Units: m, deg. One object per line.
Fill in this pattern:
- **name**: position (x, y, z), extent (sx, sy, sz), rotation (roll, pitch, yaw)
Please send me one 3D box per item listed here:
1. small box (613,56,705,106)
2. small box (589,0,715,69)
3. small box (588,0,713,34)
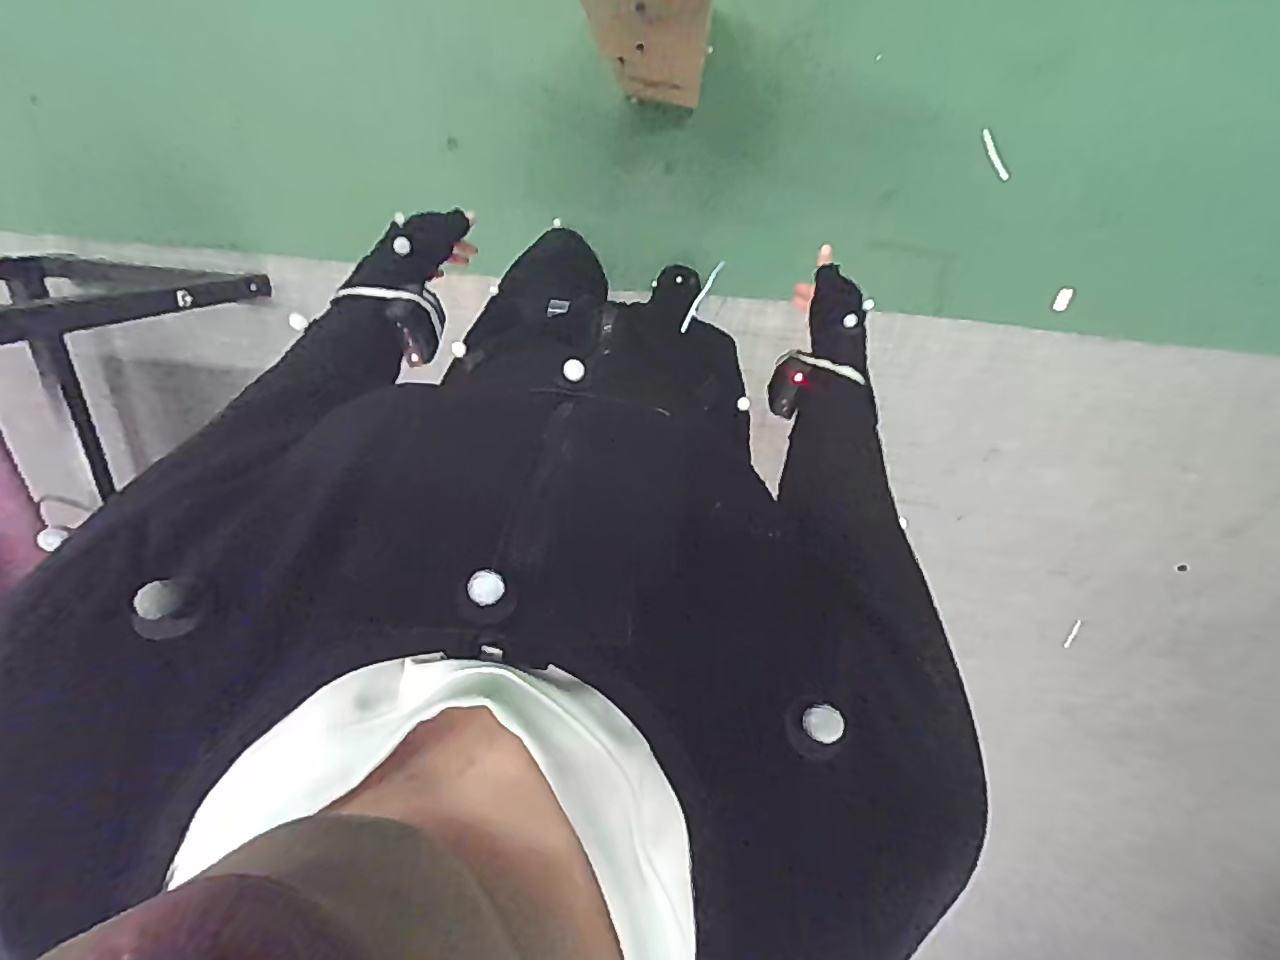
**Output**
- **small box**: position (0.046, -0.850, 1.054), extent (0.168, 0.176, 0.179), rotation (7, 117, 1)
- **small box**: position (0.027, -0.714, 0.757), extent (0.168, 0.176, 0.179), rotation (8, 115, 0)
- **small box**: position (0.016, -0.647, 0.607), extent (0.168, 0.176, 0.179), rotation (9, 115, 0)
